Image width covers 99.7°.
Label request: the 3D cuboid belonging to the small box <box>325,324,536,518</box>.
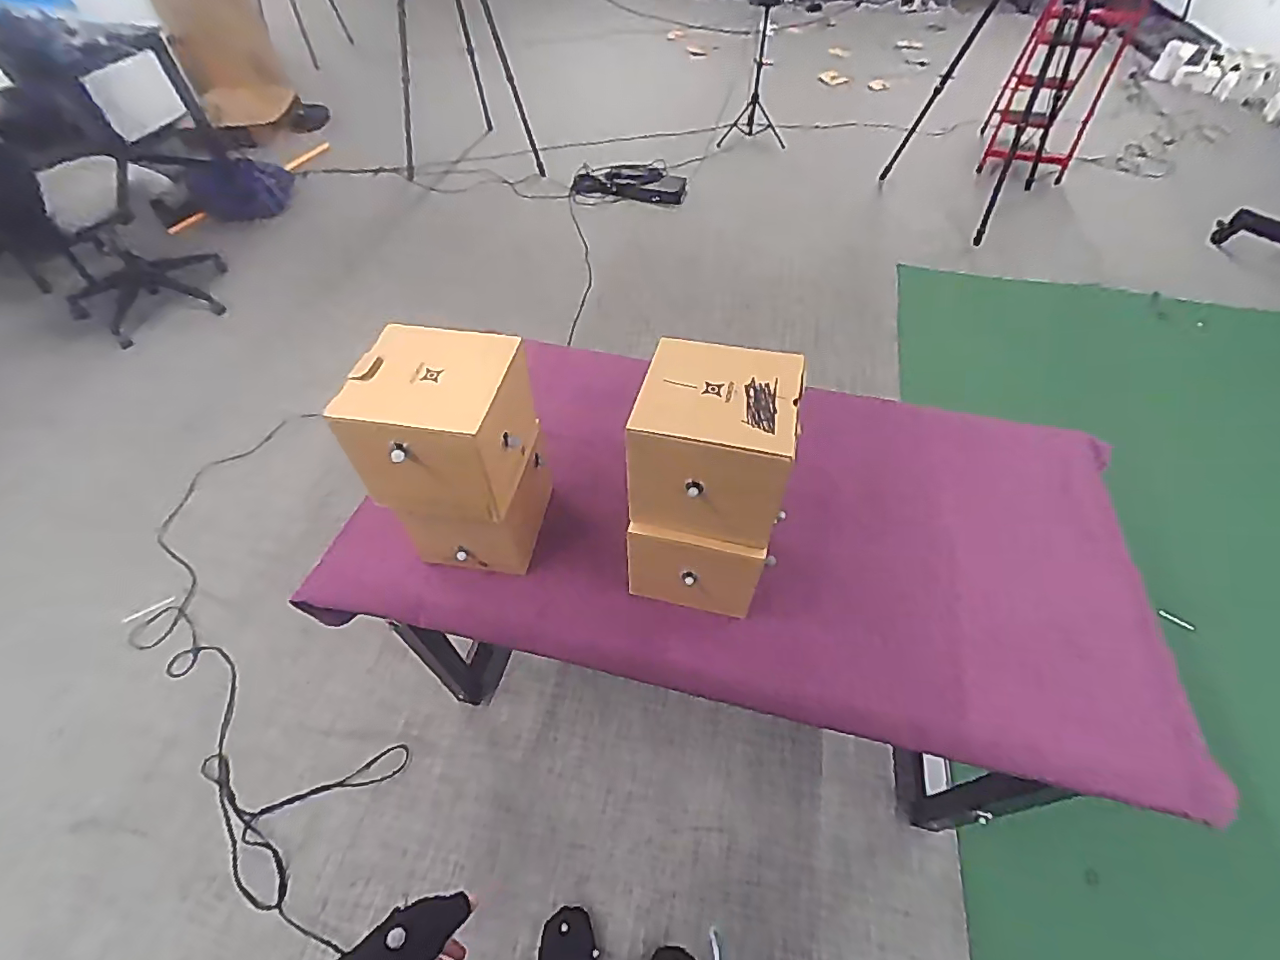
[{"bbox_3d":[-0.241,-0.069,0.681,0.179,0.176,0.168,8,52,5],"label":"small box"}]

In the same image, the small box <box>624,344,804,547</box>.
[{"bbox_3d":[0.088,-0.038,0.664,0.179,0.176,0.168,12,51,10],"label":"small box"}]

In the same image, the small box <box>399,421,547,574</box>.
[{"bbox_3d":[-0.244,0.018,0.821,0.168,0.176,0.179,8,52,5],"label":"small box"}]
